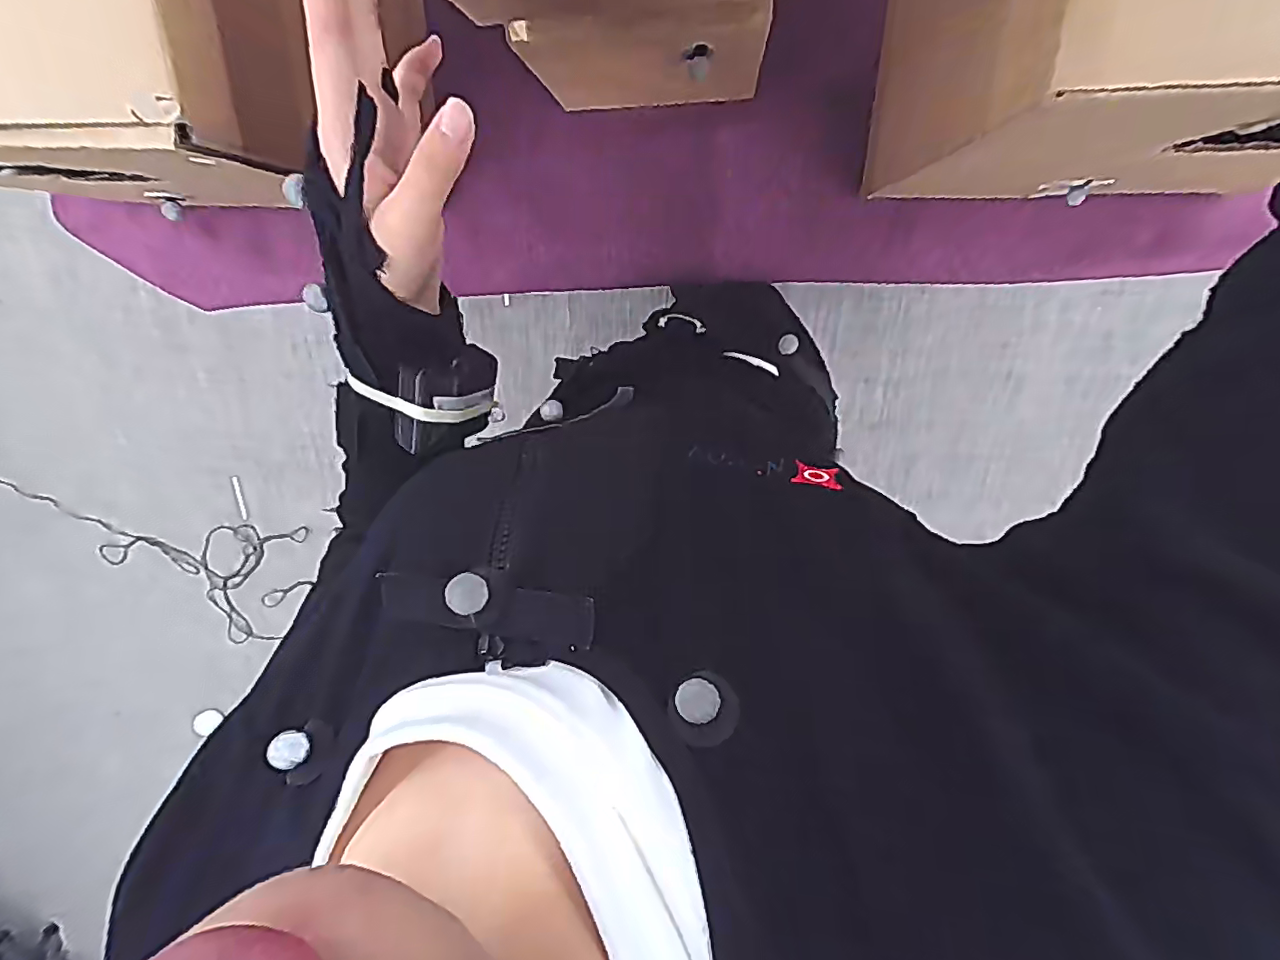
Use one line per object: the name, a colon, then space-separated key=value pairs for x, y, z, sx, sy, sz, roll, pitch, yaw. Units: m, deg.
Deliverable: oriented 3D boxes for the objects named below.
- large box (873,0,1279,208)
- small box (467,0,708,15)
large box: x=0.336 y=-0.382 z=0.272 sx=0.320 sy=0.320 sz=0.408 roll=2 pitch=110 yaw=6
small box: x=-0.025 y=-0.312 z=0.208 sx=0.179 sy=0.176 sz=0.168 roll=-1 pitch=117 yaw=4
